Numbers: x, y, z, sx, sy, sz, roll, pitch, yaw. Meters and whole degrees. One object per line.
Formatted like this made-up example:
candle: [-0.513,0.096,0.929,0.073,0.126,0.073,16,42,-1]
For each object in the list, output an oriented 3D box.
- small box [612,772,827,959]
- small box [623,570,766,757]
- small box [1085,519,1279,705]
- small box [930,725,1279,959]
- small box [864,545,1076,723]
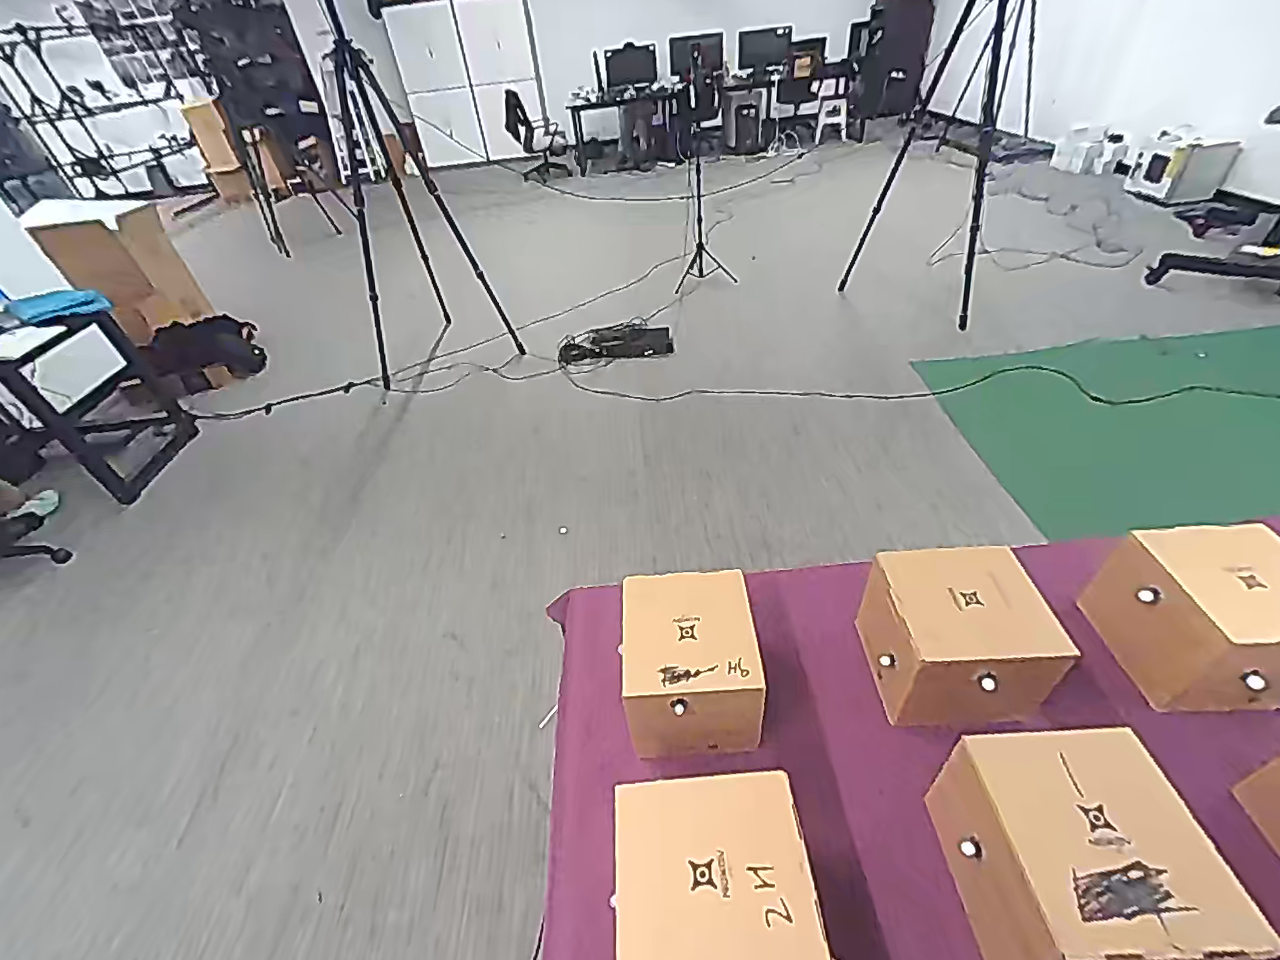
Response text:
small box: [0.071,0.413,0.532,0.179,0.176,0.168,-6,40,2]
small box: [0.068,0.246,0.729,0.168,0.176,0.179,-5,40,3]
small box: [0.737,0.175,0.698,0.168,0.176,0.179,-4,40,5]
small box: [0.414,0.367,0.527,0.168,0.176,0.179,-5,39,4]
small box: [0.412,0.206,0.718,0.179,0.176,0.168,-4,41,4]
